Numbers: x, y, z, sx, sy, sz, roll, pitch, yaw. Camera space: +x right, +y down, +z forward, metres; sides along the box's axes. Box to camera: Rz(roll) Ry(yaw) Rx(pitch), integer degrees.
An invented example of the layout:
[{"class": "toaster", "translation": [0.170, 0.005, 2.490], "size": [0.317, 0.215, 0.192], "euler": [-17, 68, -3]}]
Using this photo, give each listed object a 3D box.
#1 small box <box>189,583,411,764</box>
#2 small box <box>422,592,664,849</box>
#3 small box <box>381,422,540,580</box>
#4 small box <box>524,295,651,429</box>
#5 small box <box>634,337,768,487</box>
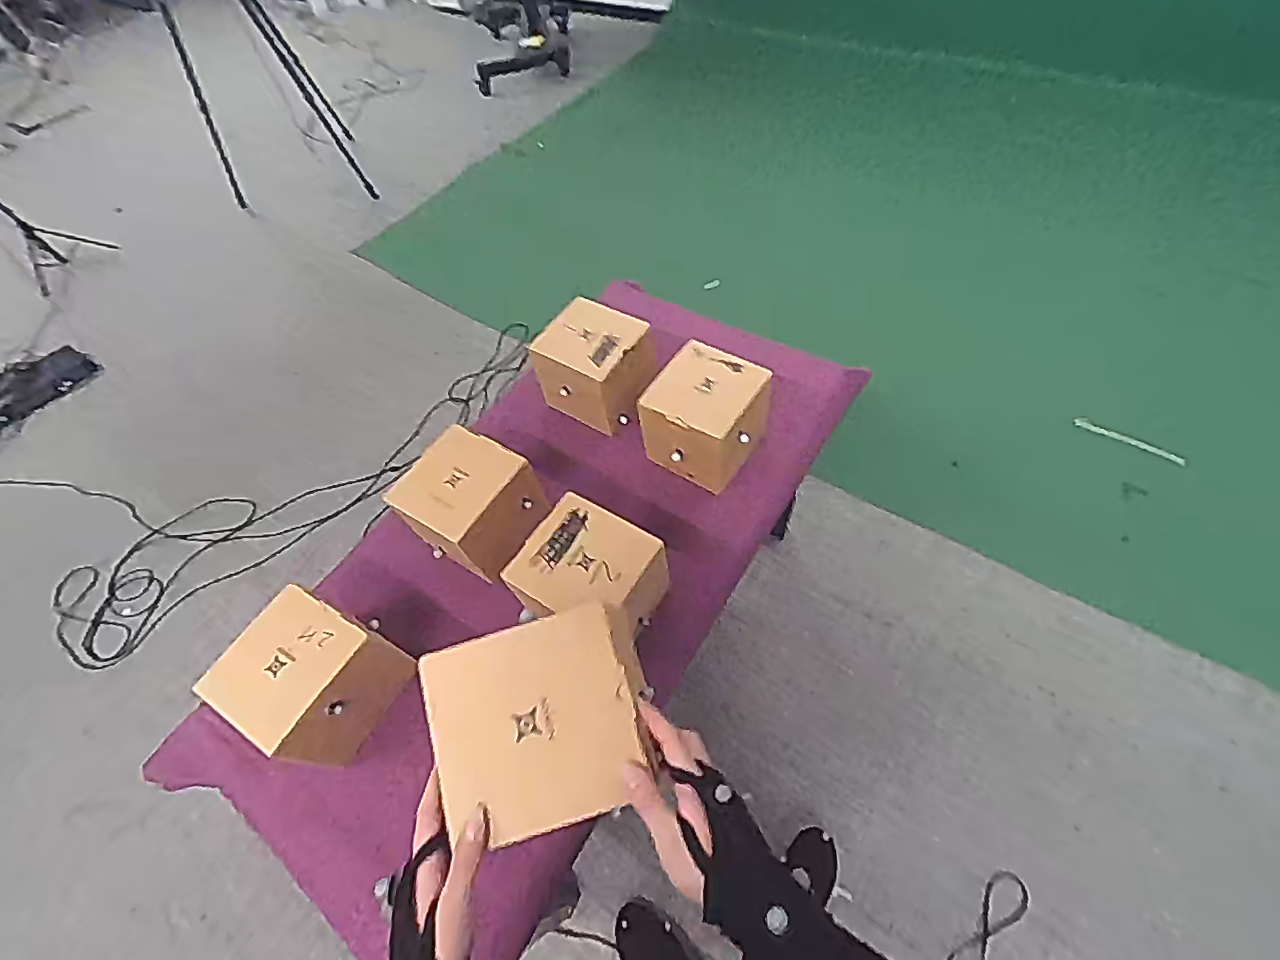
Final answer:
[{"class": "small box", "translation": [-0.474, 0.286, 0.784], "size": [0.168, 0.176, 0.179], "euler": [25, 64, 20]}, {"class": "small box", "translation": [-0.082, 0.221, 0.528], "size": [0.179, 0.176, 0.168], "euler": [-17, 72, -1]}, {"class": "small box", "translation": [-0.290, 0.039, 0.923], "size": [0.168, 0.176, 0.179], "euler": [26, 65, 21]}, {"class": "small box", "translation": [-0.092, -0.225, 1.065], "size": [0.179, 0.176, 0.168], "euler": [27, 65, 22]}, {"class": "small box", "translation": [0.113, -0.116, 0.970], "size": [0.168, 0.176, 0.179], "euler": [29, 66, 23]}]
